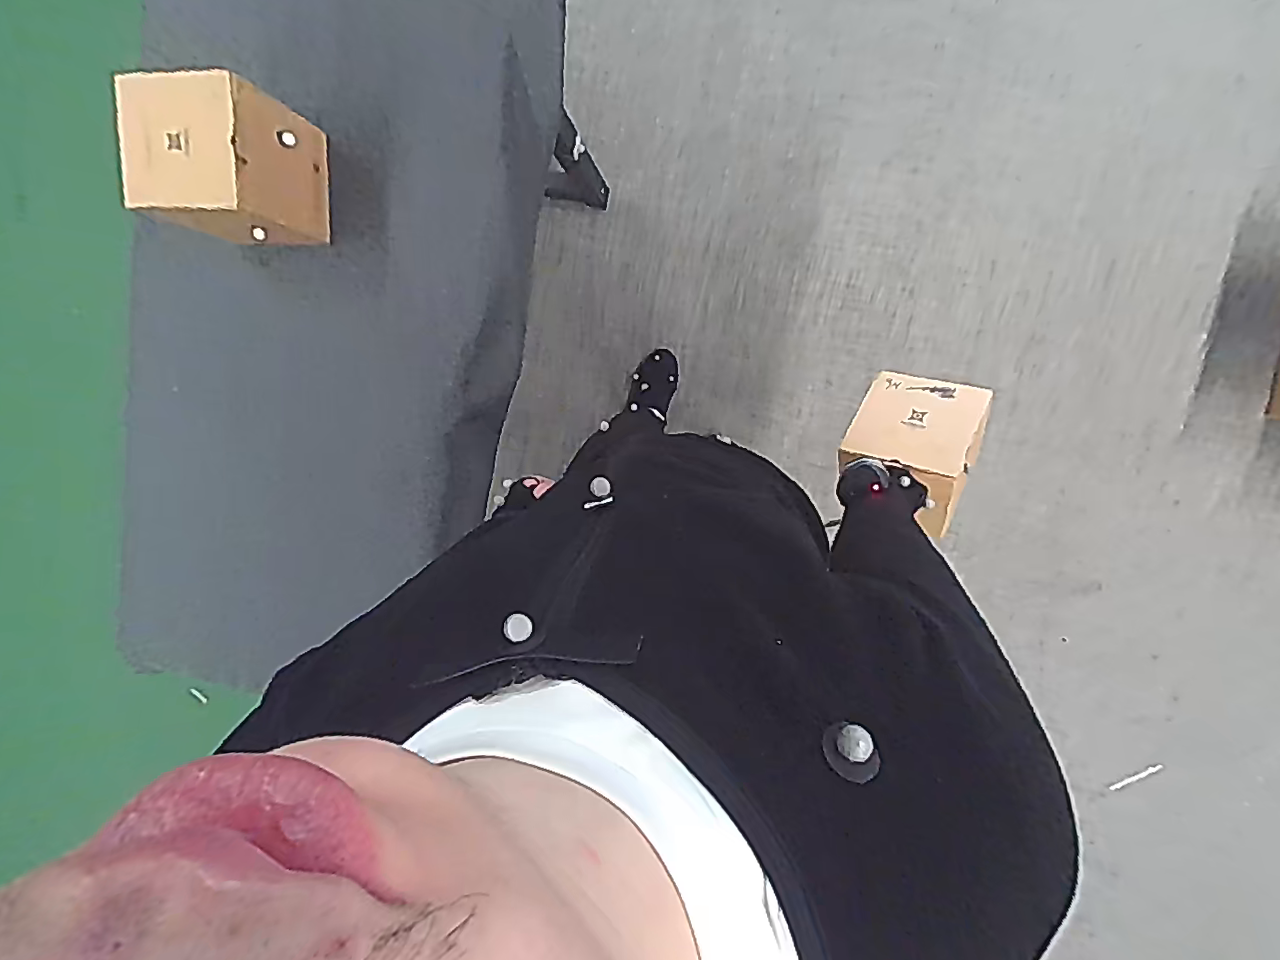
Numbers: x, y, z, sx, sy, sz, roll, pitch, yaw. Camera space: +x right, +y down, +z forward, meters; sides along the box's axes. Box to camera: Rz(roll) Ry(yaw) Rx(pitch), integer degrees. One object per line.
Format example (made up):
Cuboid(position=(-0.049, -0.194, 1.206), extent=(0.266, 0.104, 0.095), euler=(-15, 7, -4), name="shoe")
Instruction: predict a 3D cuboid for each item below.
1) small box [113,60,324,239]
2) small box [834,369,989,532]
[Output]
Cuboid(position=(-0.580, -0.454, 0.767), extent=(0.179, 0.176, 0.168), euler=(4, 97, 8), name="small box")
Cuboid(position=(0.427, -0.044, 0.865), extent=(0.168, 0.176, 0.179), euler=(22, 65, 31), name="small box")
